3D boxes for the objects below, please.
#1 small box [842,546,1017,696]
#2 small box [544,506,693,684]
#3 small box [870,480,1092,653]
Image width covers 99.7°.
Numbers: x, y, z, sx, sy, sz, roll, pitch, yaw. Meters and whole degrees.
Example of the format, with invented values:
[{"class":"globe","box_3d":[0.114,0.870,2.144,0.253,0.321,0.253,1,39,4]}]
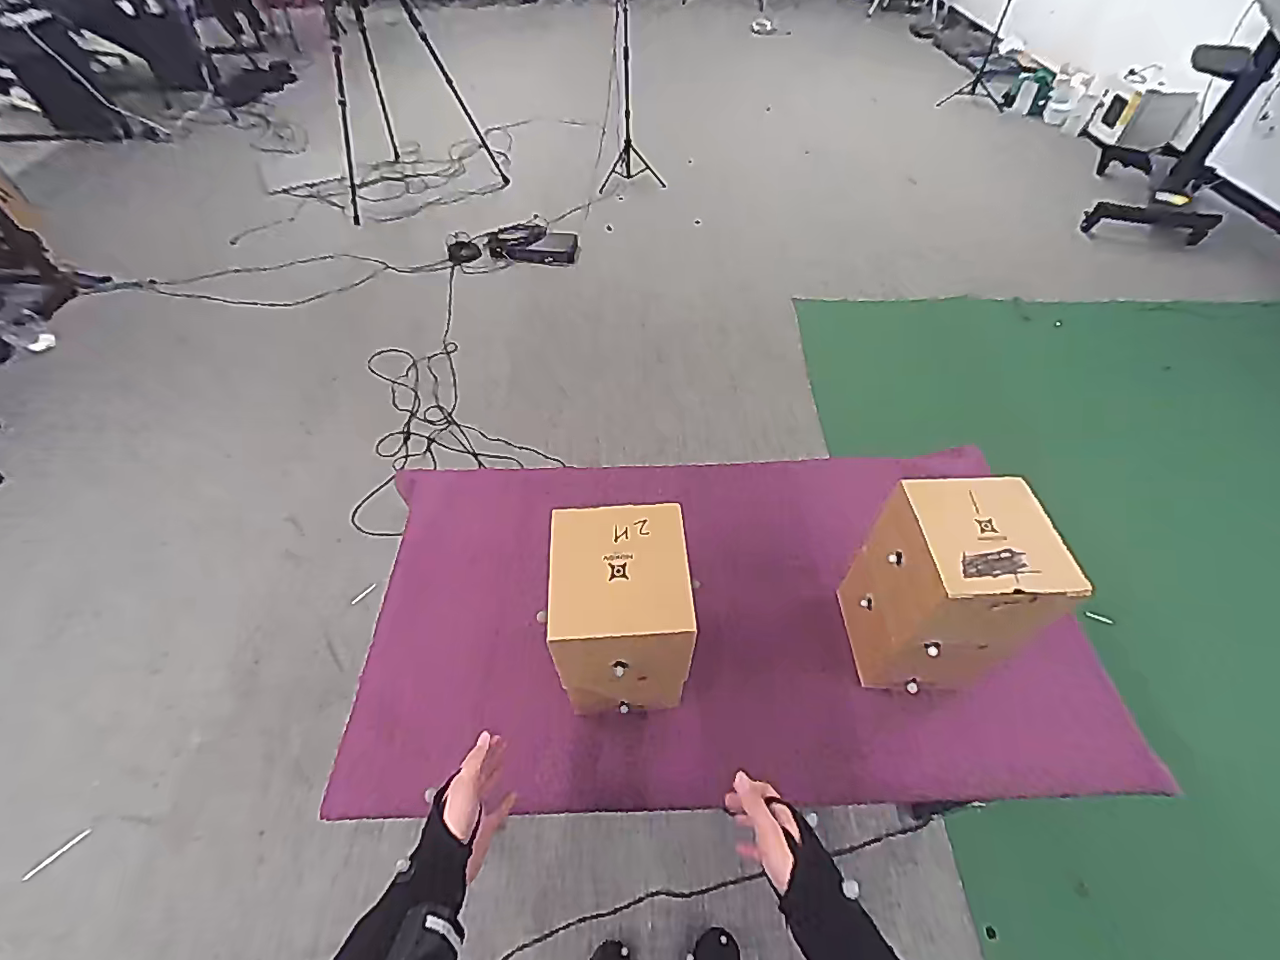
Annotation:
[{"class":"small box","box_3d":[0.433,0.221,0.848,0.168,0.176,0.179,0,51,2]},{"class":"small box","box_3d":[-0.025,0.154,0.695,0.168,0.176,0.179,-2,51,-2]},{"class":"small box","box_3d":[0.429,0.120,0.719,0.168,0.176,0.179,-1,49,2]}]
